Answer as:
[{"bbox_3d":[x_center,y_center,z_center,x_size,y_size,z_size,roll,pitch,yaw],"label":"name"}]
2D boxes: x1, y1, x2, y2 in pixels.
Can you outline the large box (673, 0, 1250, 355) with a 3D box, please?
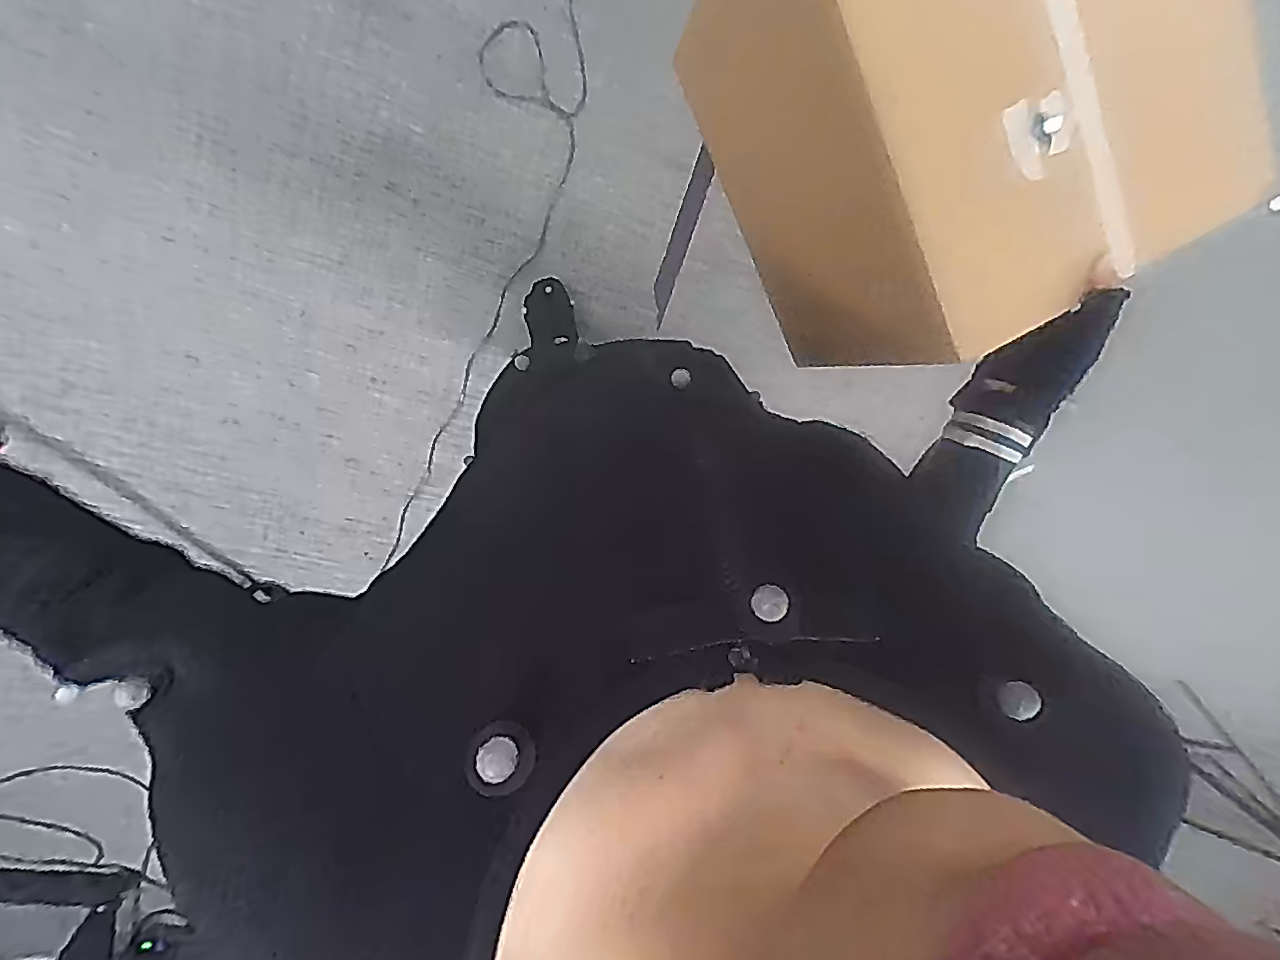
[{"bbox_3d":[0.280,-0.380,0.557,0.320,0.320,0.408,-29,104,-1],"label":"large box"}]
